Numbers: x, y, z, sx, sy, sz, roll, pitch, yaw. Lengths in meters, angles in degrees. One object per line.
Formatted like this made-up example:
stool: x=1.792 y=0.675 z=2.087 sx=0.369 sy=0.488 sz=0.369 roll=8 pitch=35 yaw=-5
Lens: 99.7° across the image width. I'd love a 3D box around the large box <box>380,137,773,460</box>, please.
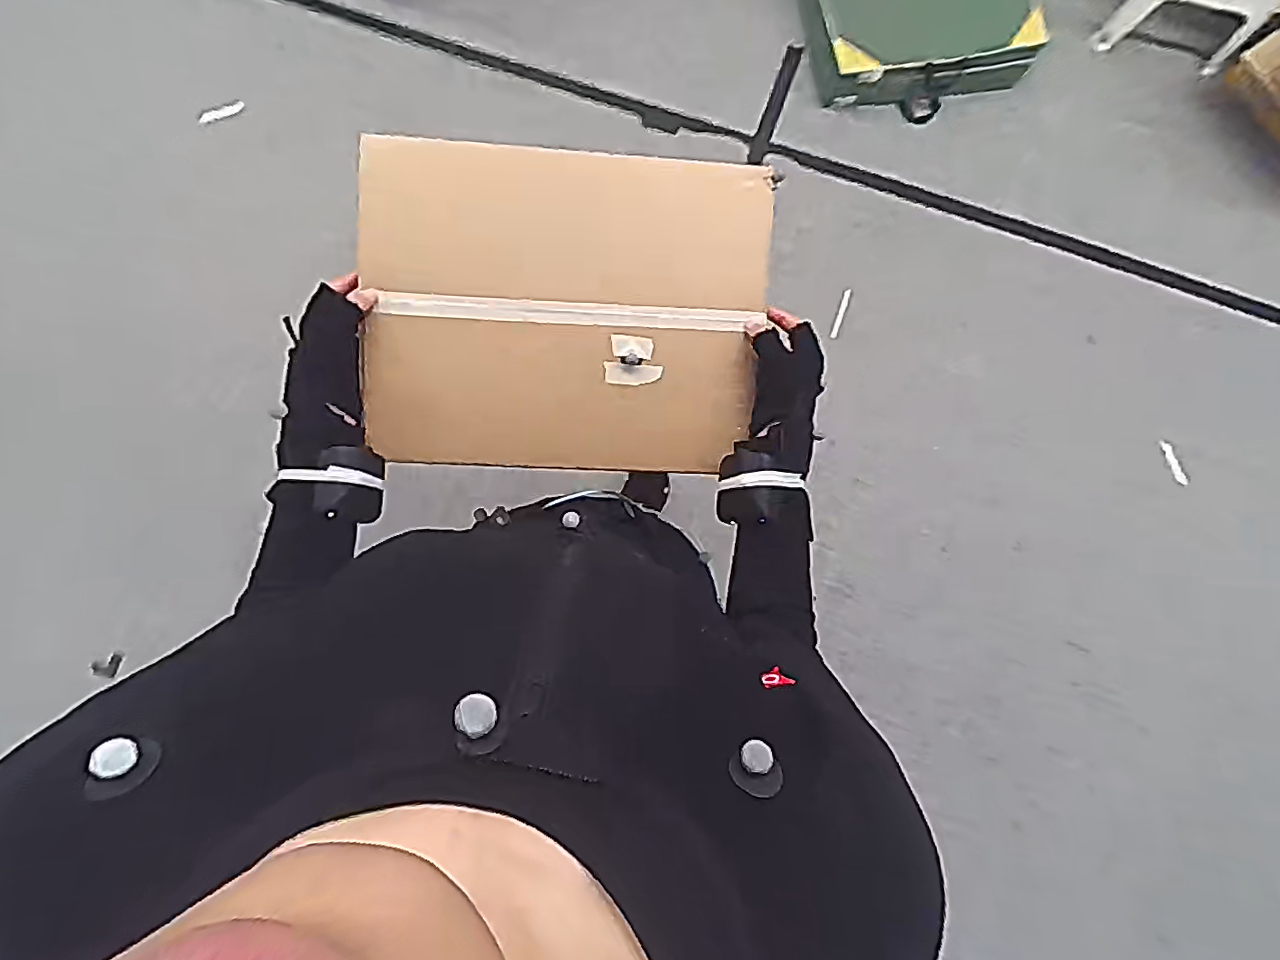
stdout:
large box: x=-0.077 y=-0.193 z=0.707 sx=0.408 sy=0.320 sz=0.320 roll=3 pitch=96 yaw=-5
